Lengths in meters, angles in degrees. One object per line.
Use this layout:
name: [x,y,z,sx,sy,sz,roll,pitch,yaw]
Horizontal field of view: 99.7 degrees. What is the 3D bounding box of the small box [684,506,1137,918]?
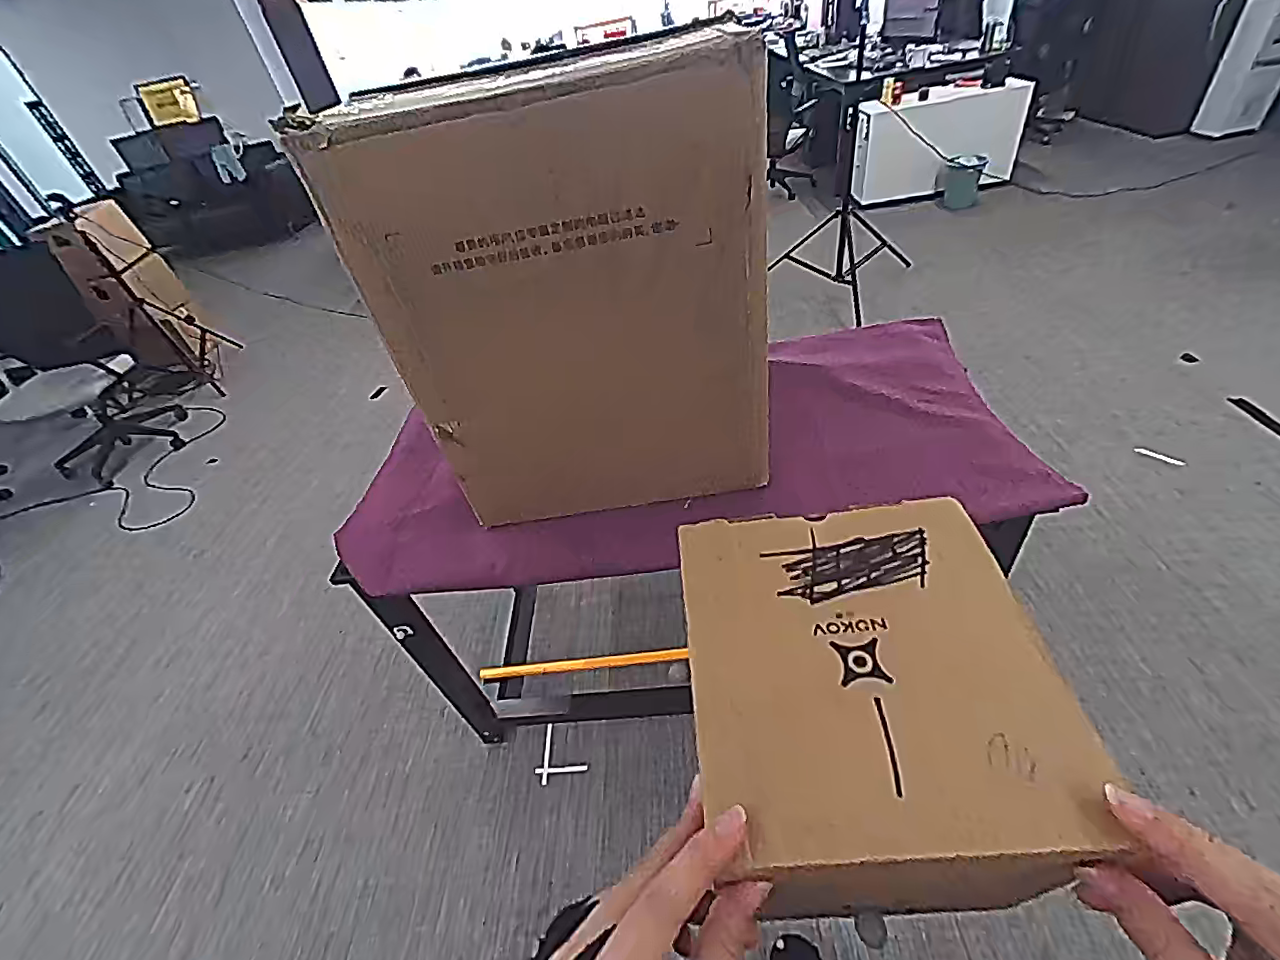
small box: [0.117,0.140,0.325,0.168,0.176,0.179,-7,46,6]
